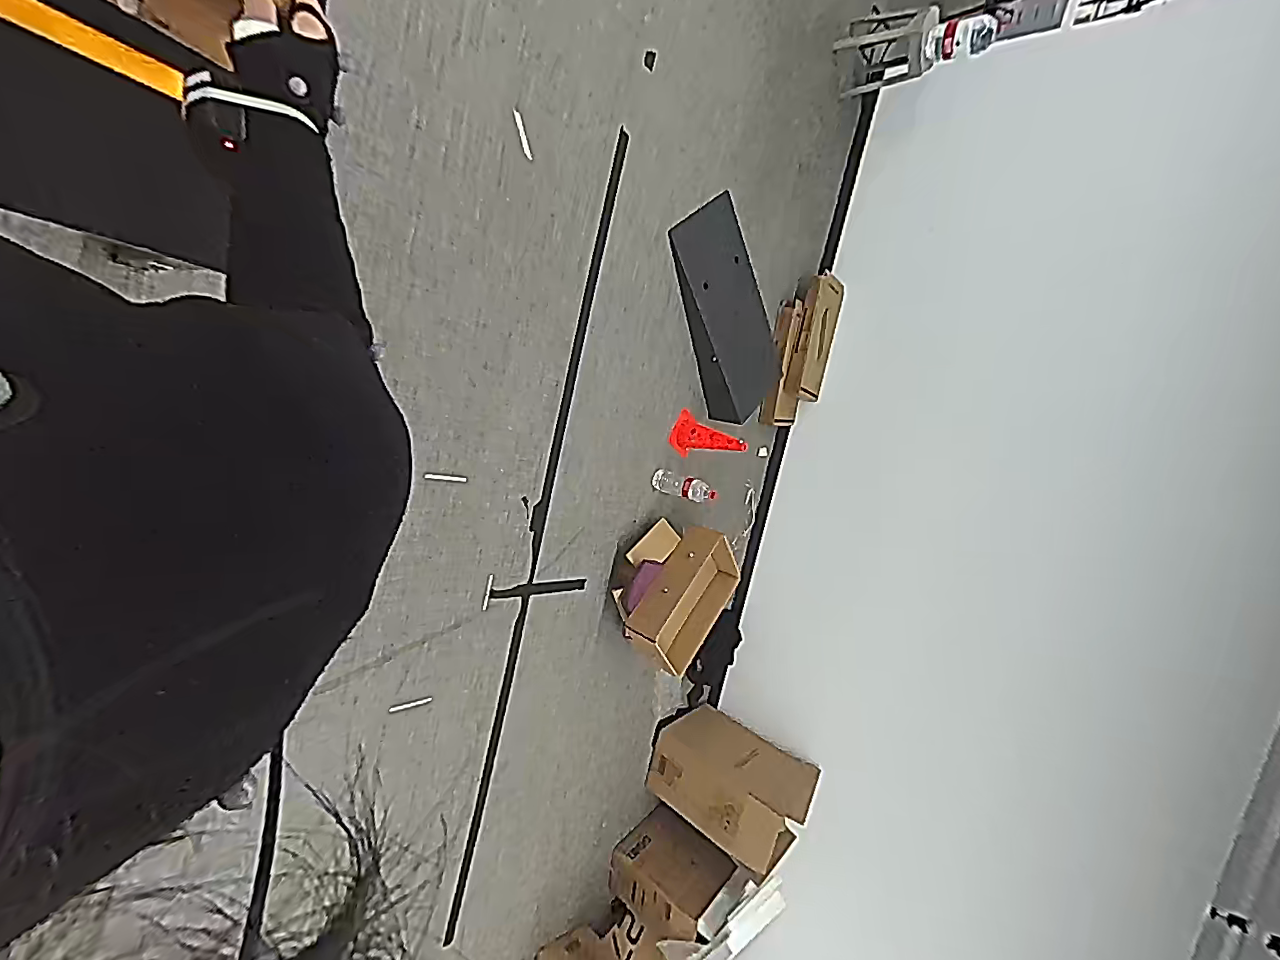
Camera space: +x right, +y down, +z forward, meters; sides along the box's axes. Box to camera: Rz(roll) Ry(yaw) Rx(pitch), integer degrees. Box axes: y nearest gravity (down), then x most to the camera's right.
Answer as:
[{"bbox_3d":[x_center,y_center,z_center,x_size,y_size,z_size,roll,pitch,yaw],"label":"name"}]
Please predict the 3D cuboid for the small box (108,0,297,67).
[{"bbox_3d":[-0.404,-0.511,0.466,0.168,0.176,0.179,10,96,-52],"label":"small box"}]
